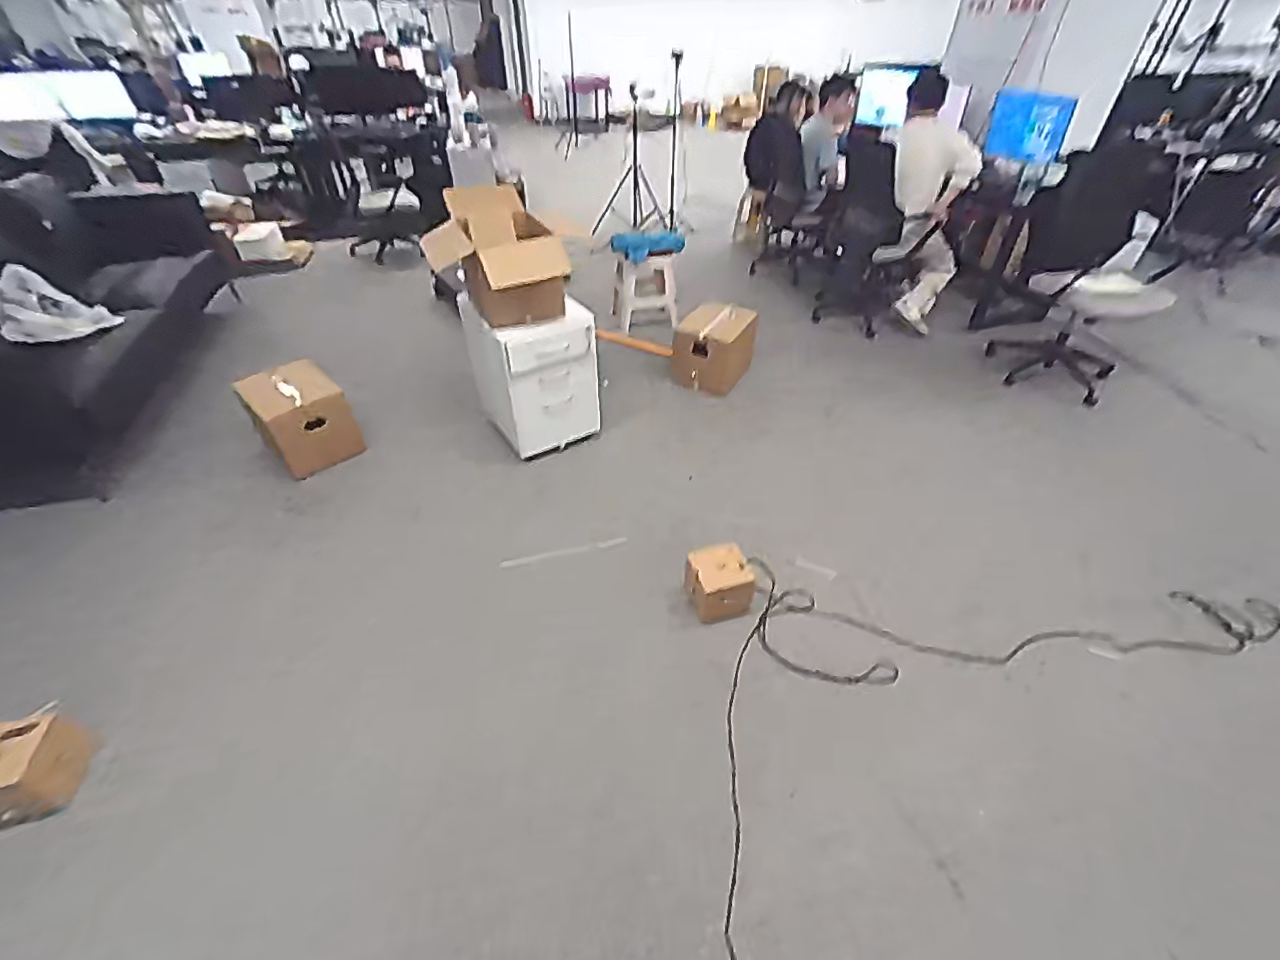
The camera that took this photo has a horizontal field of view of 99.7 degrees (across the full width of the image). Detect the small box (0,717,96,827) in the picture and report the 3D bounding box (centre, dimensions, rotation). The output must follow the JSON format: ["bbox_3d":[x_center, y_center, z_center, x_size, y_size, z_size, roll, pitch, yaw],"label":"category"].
[{"bbox_3d":[-1.531,0.729,1.350,0.168,0.176,0.179,-9,42,-11],"label":"small box"}]

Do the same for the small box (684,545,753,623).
[{"bbox_3d":[0.255,0.347,1.783,0.179,0.176,0.168,-12,42,-13],"label":"small box"}]
